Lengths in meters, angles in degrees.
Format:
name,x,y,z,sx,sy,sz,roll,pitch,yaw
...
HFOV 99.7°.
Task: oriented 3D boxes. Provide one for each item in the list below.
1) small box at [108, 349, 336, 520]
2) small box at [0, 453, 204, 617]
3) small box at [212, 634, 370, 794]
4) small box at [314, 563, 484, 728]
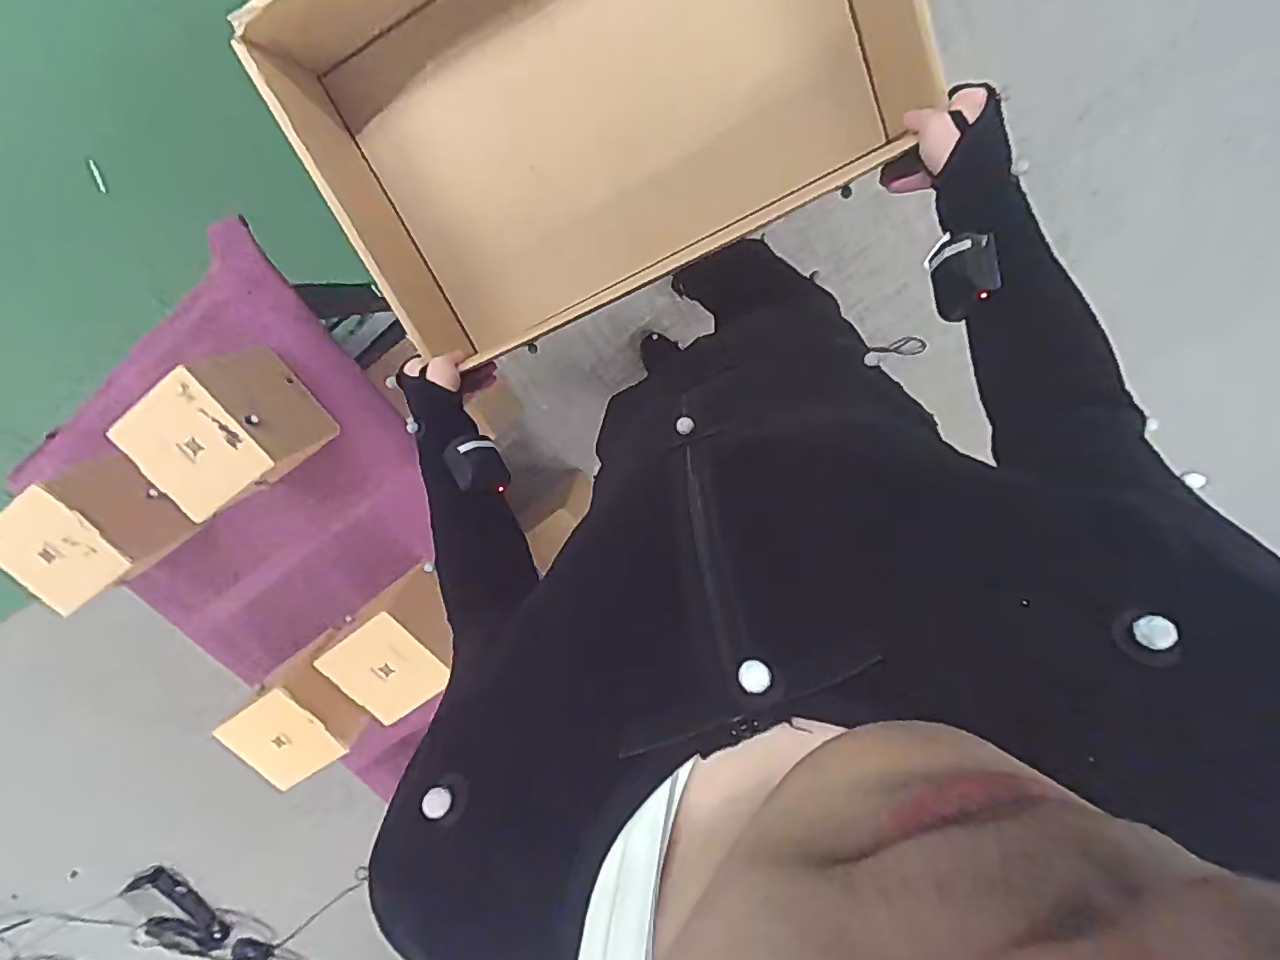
name,x,y,z,sx,sy,sz,roll,pitch,yaw
small box,-0.609,-0.074,0.813,0.179,0.176,0.168,-31,107,15
small box,-0.875,0.081,0.878,0.179,0.176,0.168,-33,108,12
small box,-0.610,0.422,0.995,0.179,0.176,0.168,-34,104,12
small box,-0.401,0.279,0.934,0.179,0.176,0.168,-35,105,14
